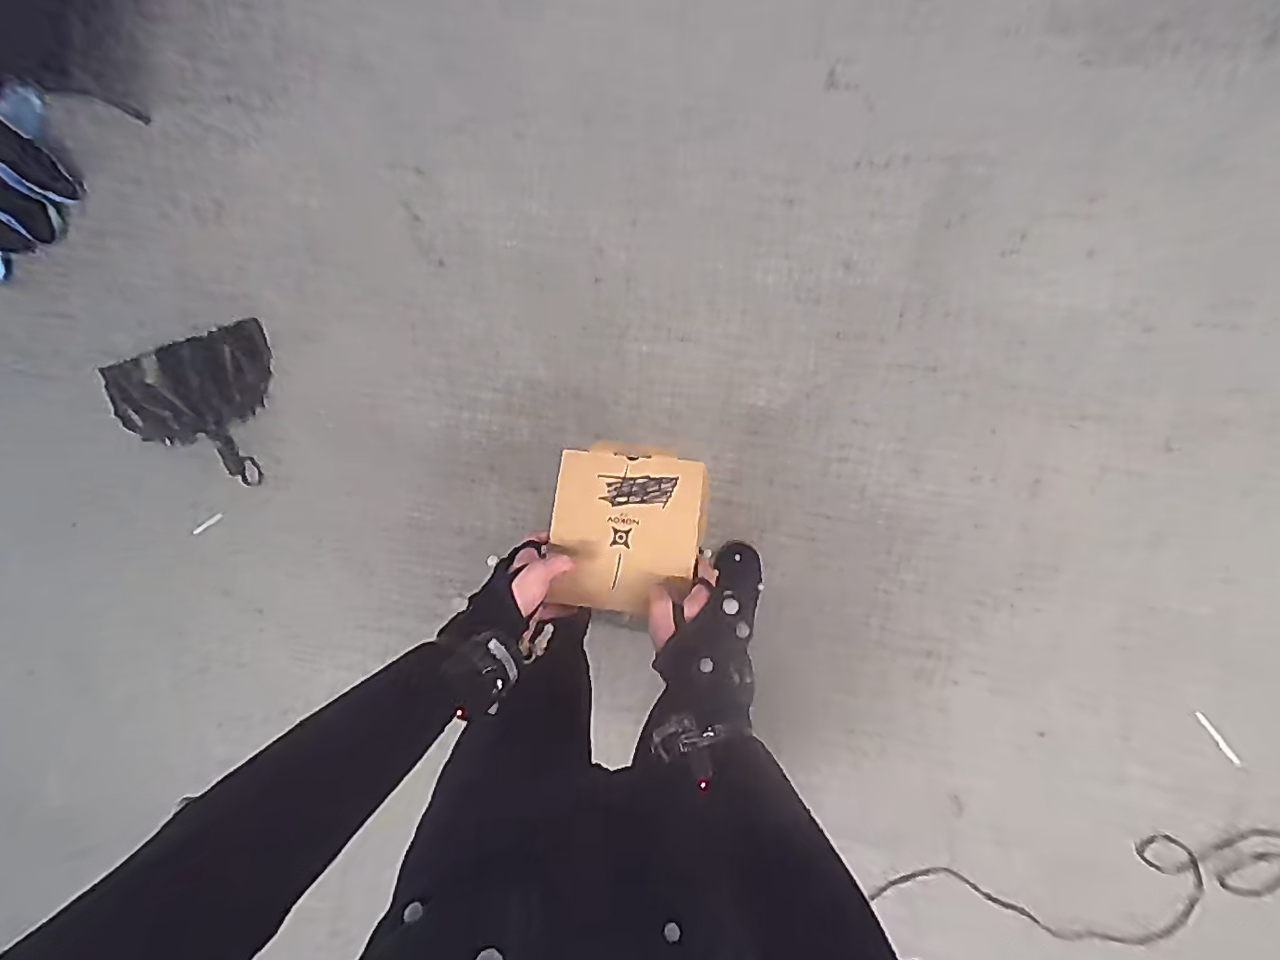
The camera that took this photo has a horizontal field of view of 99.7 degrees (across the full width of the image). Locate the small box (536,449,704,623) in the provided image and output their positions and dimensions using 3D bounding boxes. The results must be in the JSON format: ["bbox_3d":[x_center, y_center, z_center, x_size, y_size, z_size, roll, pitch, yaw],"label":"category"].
[{"bbox_3d":[-0.011,0.074,0.663,0.168,0.176,0.179,5,78,10],"label":"small box"}]
